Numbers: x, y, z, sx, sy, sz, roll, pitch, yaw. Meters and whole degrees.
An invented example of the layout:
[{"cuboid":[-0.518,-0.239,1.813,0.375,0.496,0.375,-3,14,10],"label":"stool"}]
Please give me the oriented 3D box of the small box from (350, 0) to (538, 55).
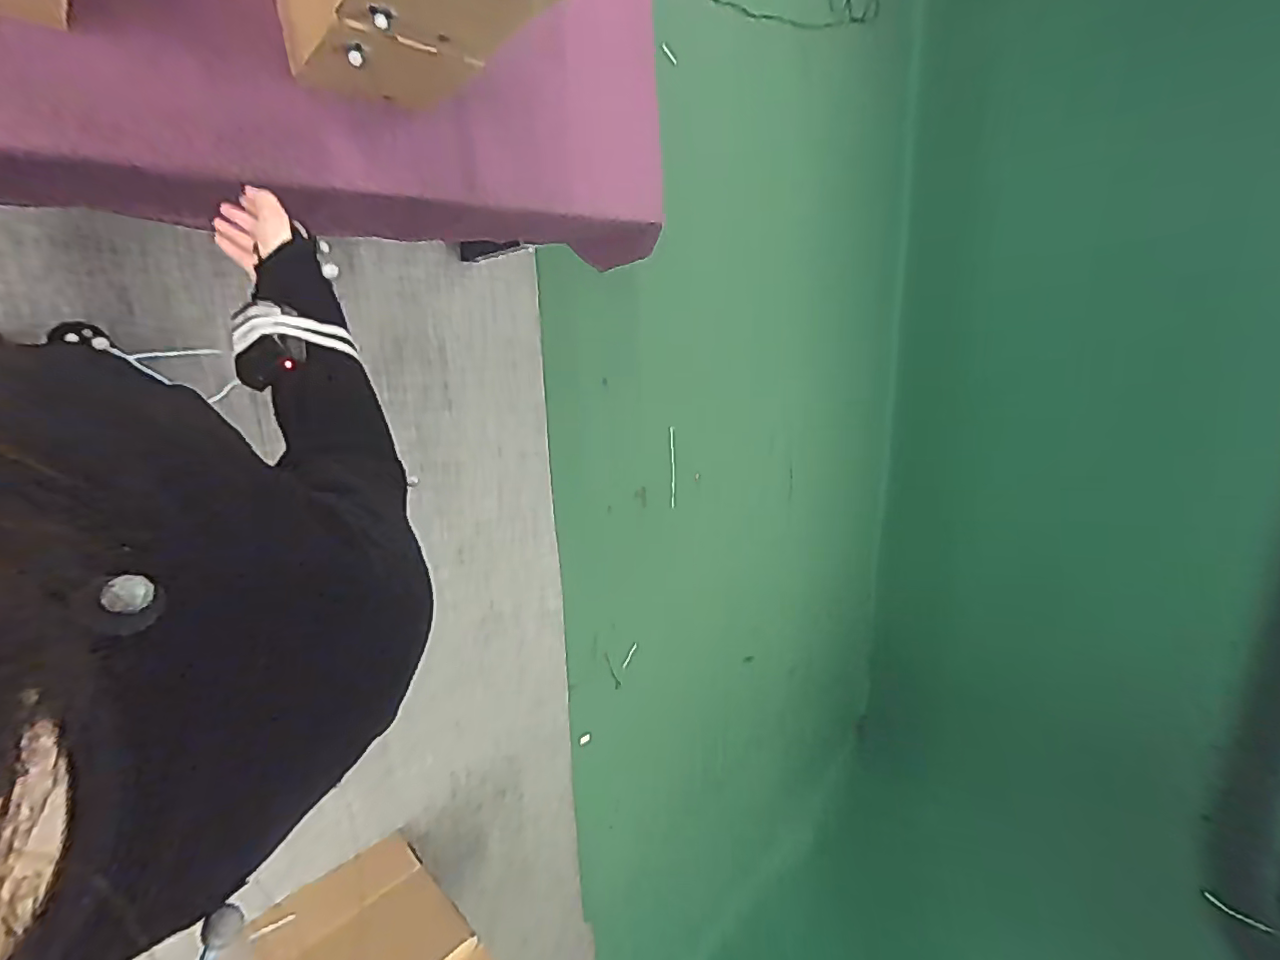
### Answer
[{"cuboid":[-0.191,-0.547,0.506,0.168,0.176,0.179,-20,110,-42],"label":"small box"}]
